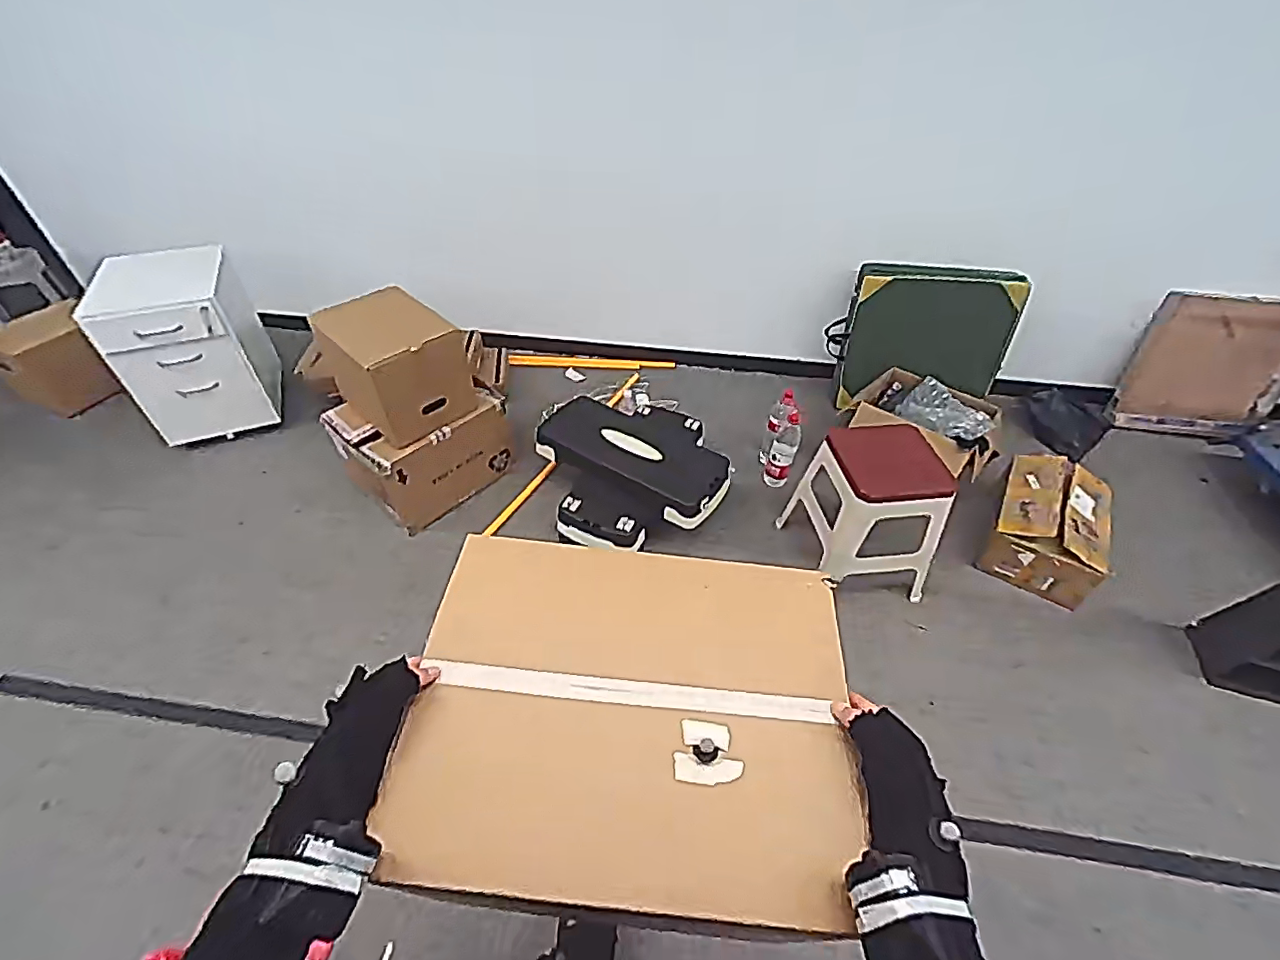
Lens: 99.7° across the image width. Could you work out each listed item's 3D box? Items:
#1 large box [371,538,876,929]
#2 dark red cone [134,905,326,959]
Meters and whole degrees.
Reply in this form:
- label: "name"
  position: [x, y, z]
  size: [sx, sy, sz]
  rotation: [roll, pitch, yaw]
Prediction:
- label: "large box"
  position: [-0.013, 0.296, 0.624]
  size: [0.408, 0.320, 0.320]
  rotation: [6, 49, 1]
- label: "dark red cone"
  position: [-0.740, 0.846, 0.932]
  size: [0.201, 0.394, 0.202]
  rotation: [12, 45, 9]
